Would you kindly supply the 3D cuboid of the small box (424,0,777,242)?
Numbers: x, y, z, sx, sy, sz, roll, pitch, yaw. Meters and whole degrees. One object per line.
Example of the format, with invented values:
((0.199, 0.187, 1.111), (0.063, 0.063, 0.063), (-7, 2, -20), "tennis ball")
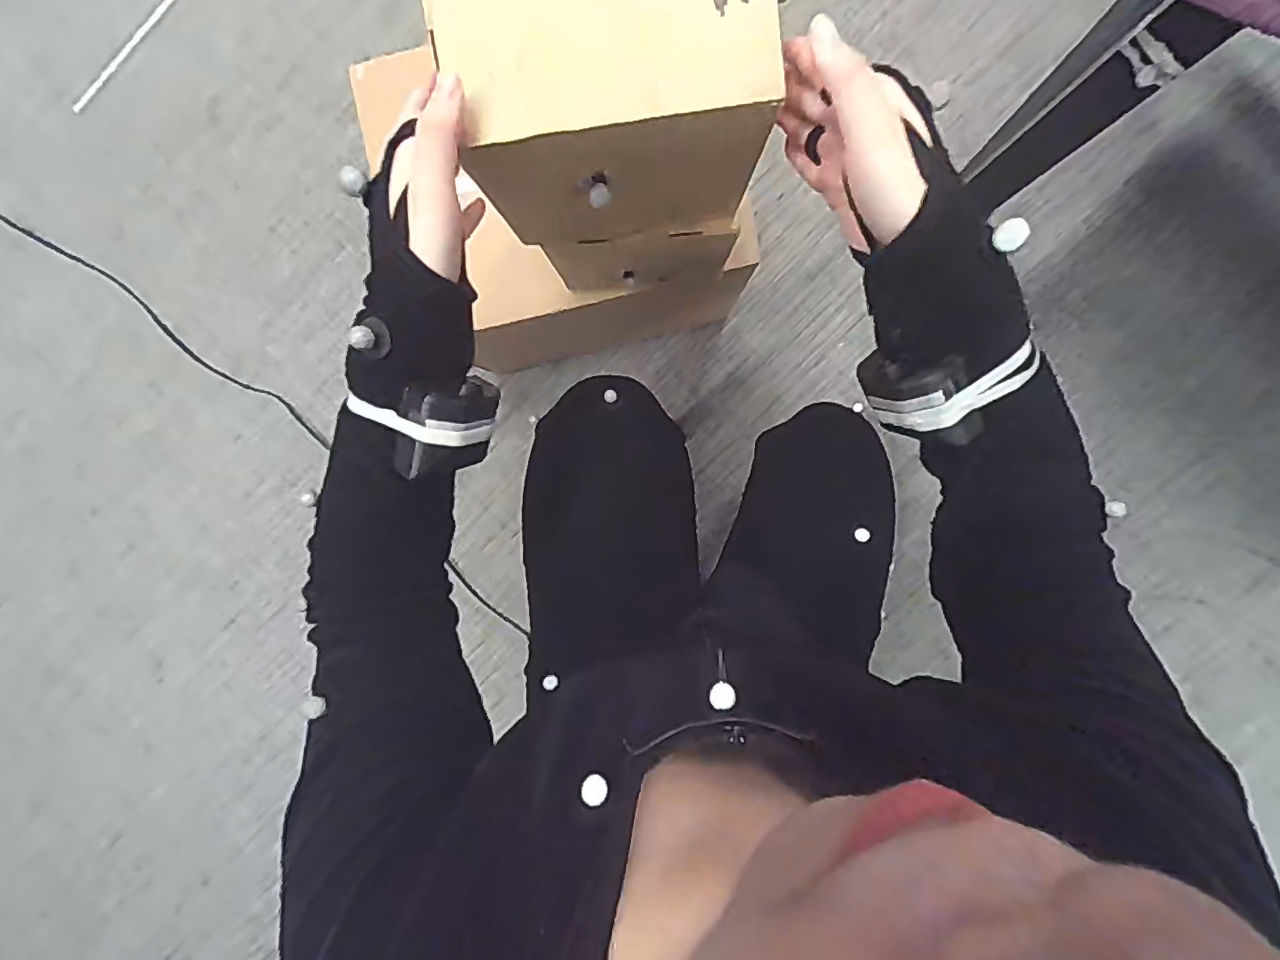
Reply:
((-0.021, -0.269, 0.347), (0.179, 0.176, 0.168), (-7, 98, 4), "small box")
